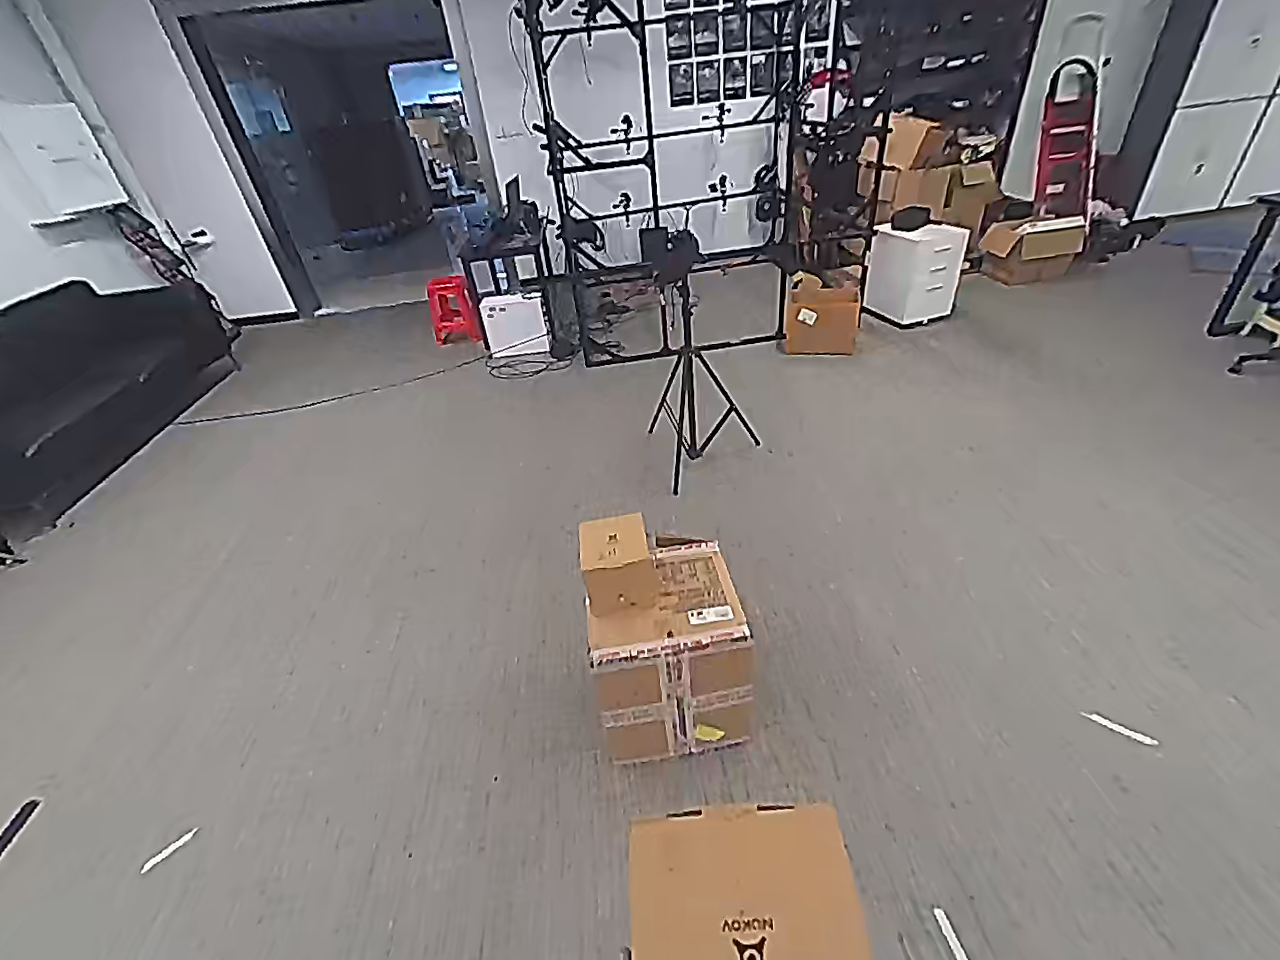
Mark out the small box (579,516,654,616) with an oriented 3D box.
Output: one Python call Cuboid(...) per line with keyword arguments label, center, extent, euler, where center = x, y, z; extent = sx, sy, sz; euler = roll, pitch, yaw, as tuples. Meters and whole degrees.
Cuboid(label="small box", center=(-0.062, 0.220, 1.382), extent=(0.168, 0.176, 0.179), euler=(-10, 37, -1))
